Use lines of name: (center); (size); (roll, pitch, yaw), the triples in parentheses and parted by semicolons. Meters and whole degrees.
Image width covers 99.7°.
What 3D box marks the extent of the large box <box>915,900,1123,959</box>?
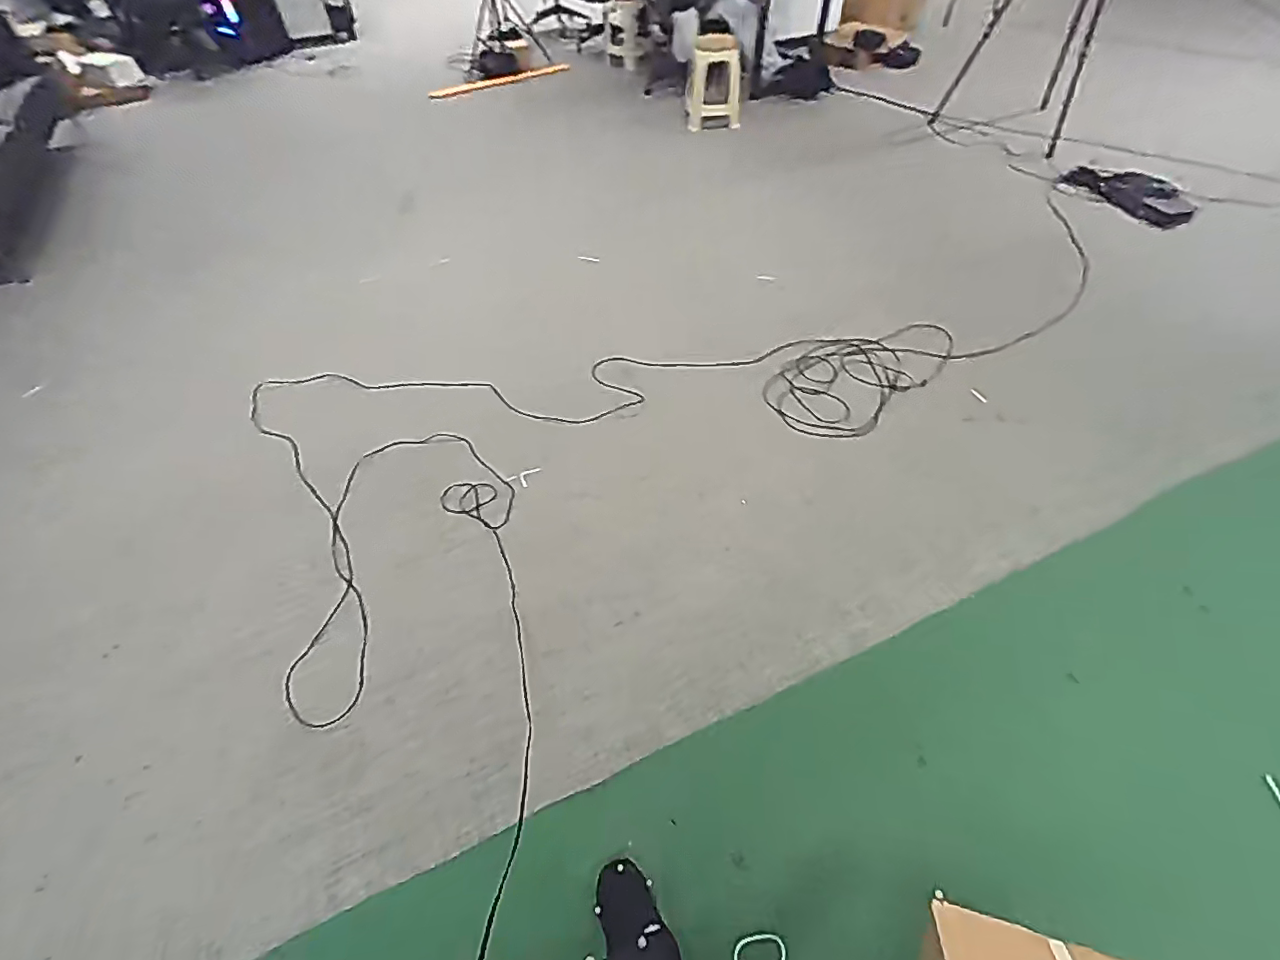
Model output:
large box: (0.501, 0.814, 0.600); (0.320, 0.408, 0.320); (9, 96, 17)
